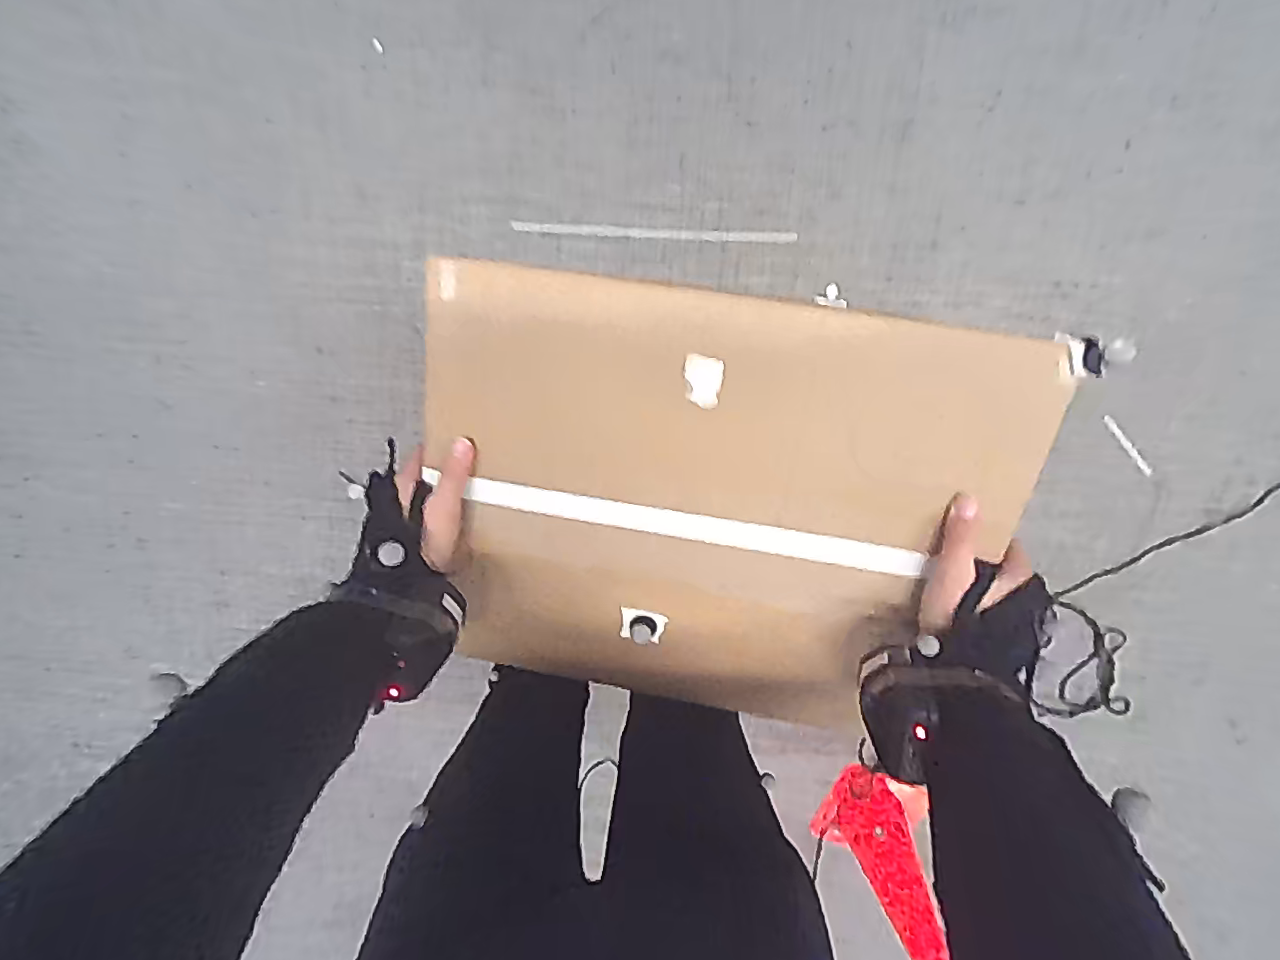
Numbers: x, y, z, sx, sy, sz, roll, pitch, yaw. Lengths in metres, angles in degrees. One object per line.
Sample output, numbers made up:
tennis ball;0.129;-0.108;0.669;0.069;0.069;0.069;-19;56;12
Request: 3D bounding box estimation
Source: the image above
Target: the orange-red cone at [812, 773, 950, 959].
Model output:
orange-red cone;0.478;0.757;0.969;0.199;0.360;0.198;23;104;-3
